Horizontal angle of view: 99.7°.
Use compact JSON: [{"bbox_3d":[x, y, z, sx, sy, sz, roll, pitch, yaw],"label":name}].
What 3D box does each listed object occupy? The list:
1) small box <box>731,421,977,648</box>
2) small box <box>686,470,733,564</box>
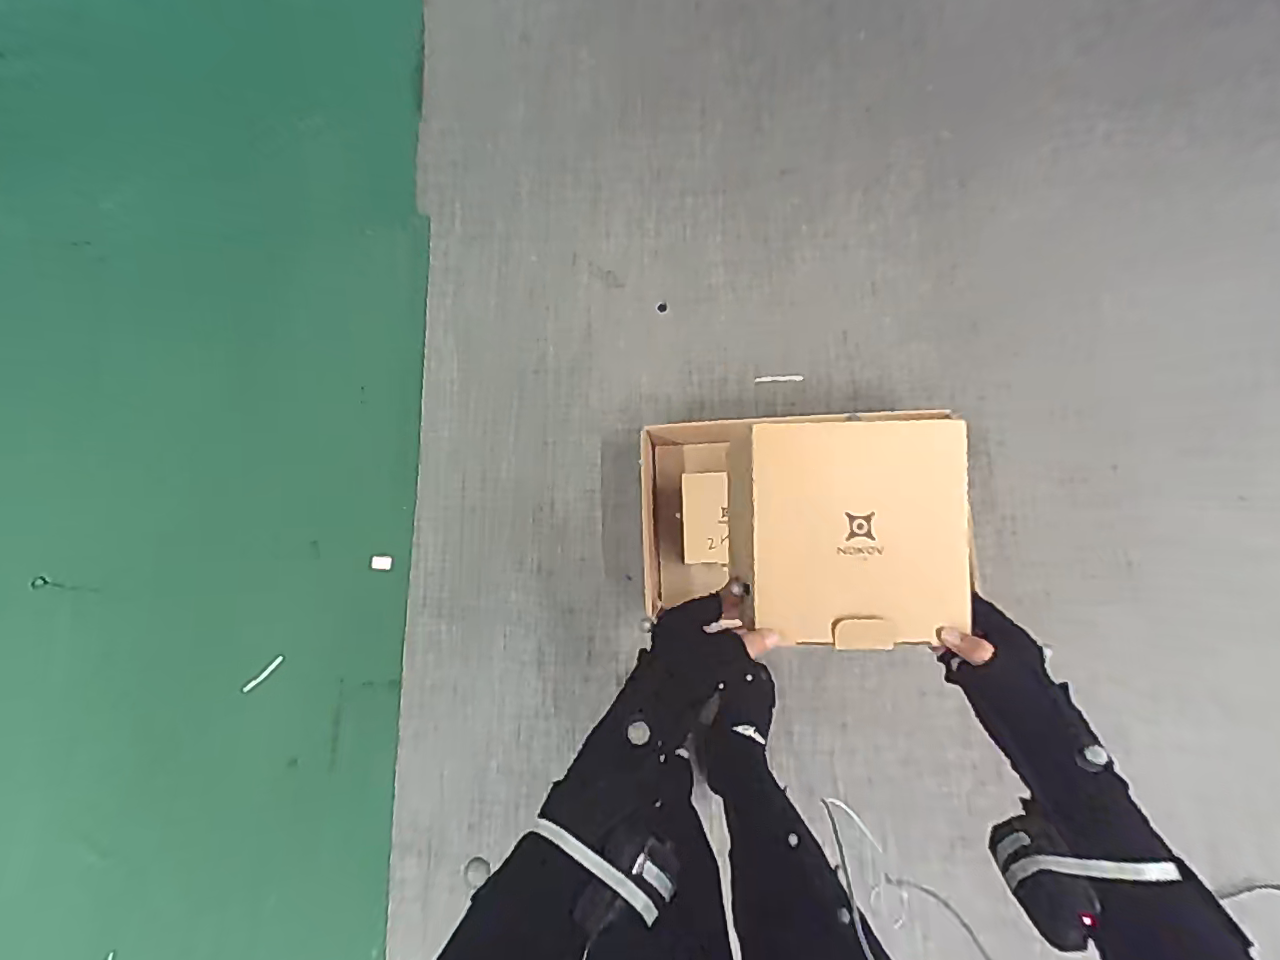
[{"bbox_3d":[0.177,0.044,0.497,0.168,0.176,0.179,-1,89,2],"label":"small box"},{"bbox_3d":[0.177,0.079,1.094,0.168,0.176,0.179,-2,81,5],"label":"small box"}]
